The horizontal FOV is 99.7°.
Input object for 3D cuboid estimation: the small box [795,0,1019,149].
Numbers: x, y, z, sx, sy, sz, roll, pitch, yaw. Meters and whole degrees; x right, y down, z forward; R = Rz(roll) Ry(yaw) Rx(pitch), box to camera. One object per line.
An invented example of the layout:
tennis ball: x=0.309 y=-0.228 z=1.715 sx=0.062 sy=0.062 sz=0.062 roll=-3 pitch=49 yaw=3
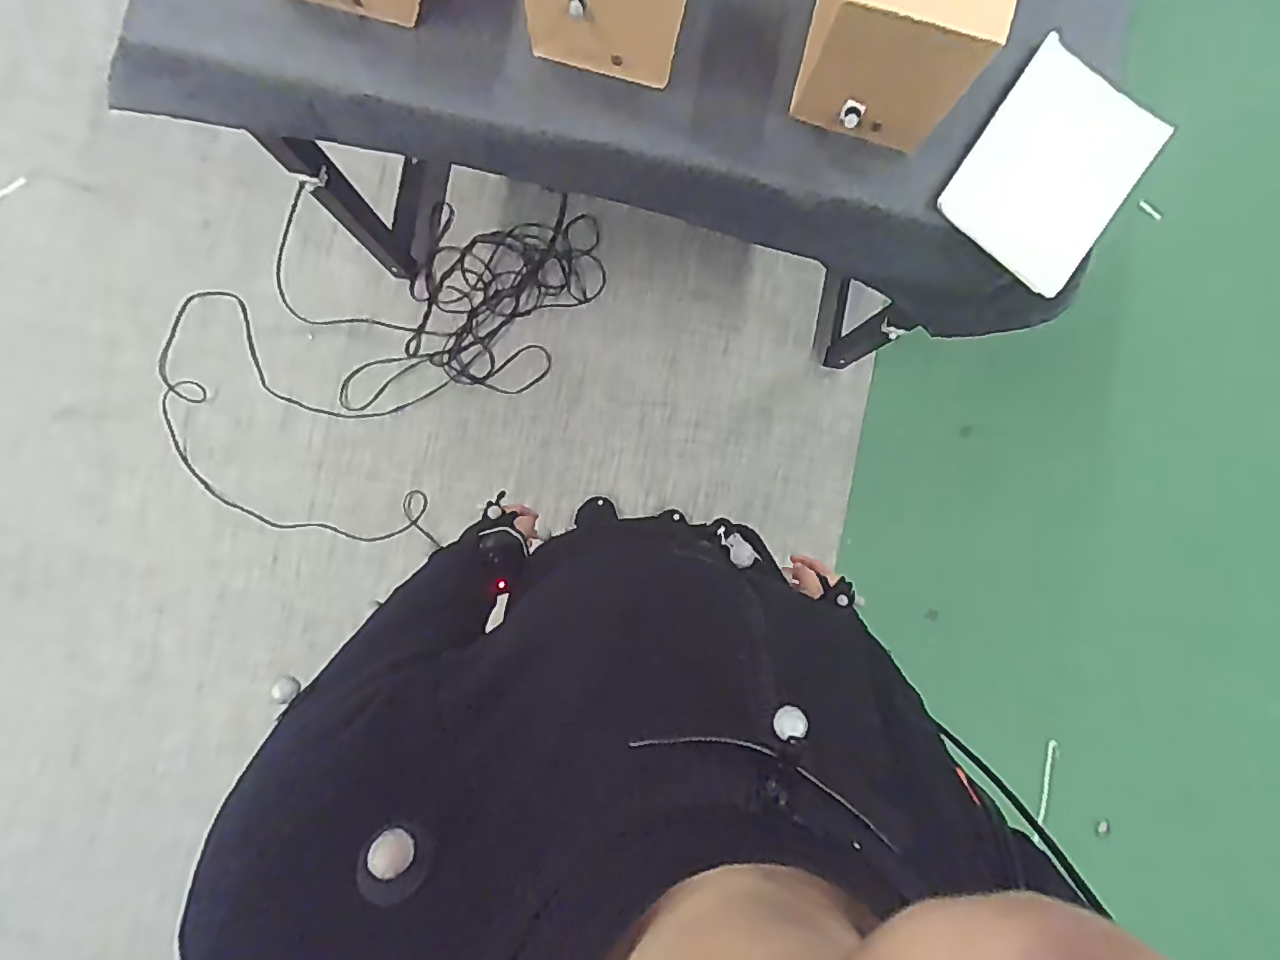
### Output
small box: x=0.286 y=-0.512 z=0.591 sx=0.168 sy=0.176 sz=0.179 roll=14 pitch=89 yaw=-1

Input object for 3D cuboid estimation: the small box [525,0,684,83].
small box: x=-0.029 y=-0.577 z=0.576 sx=0.168 sy=0.176 sz=0.179 roll=13 pitch=87 yaw=-2
